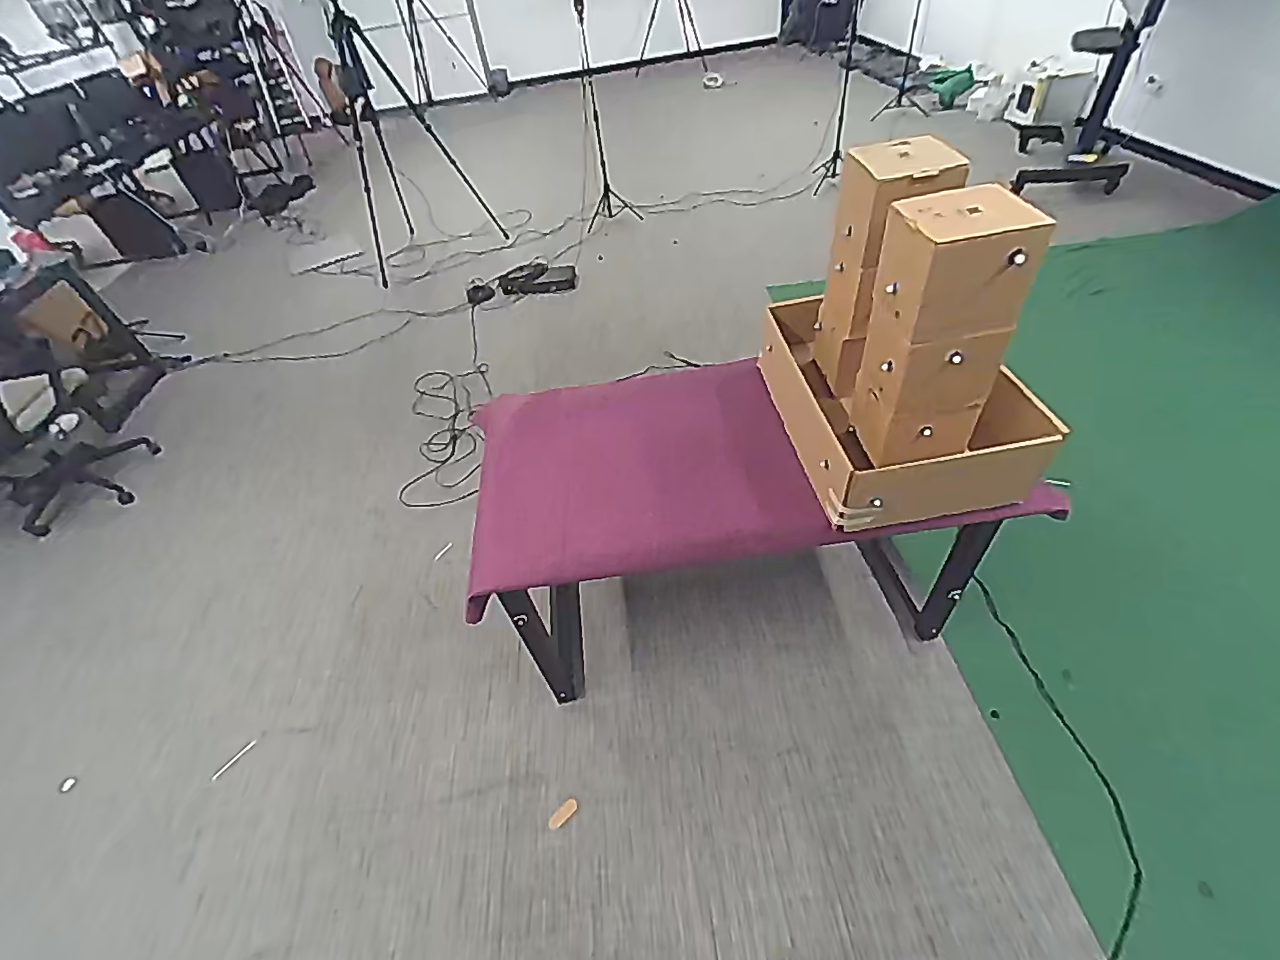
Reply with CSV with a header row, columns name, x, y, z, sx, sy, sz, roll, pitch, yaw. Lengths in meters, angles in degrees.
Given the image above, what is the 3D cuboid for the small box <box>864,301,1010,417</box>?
name,x,y,z,sx,sy,sz,roll,pitch,yaw
small box,0.531,-0.233,1.003,0.179,0.176,0.168,-8,47,3

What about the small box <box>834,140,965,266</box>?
name,x,y,z,sx,sy,sz,roll,pitch,yaw
small box,0.499,-0.539,1.068,0.168,0.176,0.179,-8,48,2

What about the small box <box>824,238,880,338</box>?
name,x,y,z,sx,sy,sz,roll,pitch,yaw
small box,0.517,-0.427,1.188,0.168,0.176,0.179,-8,47,2

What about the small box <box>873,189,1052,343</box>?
name,x,y,z,sx,sy,sz,roll,pitch,yaw
small box,0.509,-0.347,0.886,0.179,0.176,0.168,-9,46,3
